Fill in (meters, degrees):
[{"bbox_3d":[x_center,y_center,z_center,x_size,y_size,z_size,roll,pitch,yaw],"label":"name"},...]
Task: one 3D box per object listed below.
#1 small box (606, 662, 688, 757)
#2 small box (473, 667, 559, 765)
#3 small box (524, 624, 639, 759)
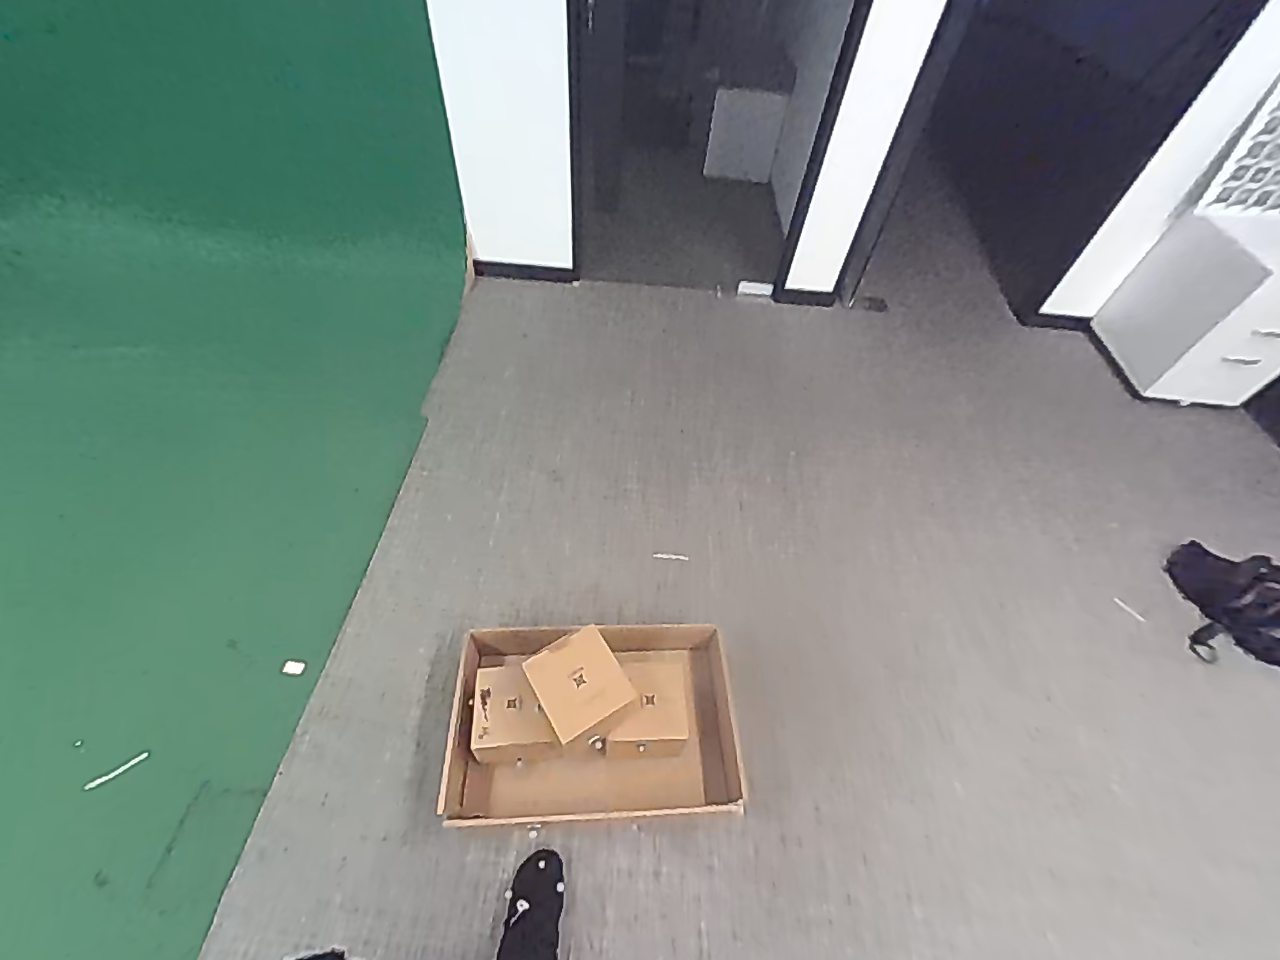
[{"bbox_3d":[0.010,0.530,1.245,0.179,0.176,0.168,0,52,-4],"label":"small box"},{"bbox_3d":[-0.270,0.531,1.219,0.179,0.176,0.168,-1,51,-9],"label":"small box"},{"bbox_3d":[-0.122,0.434,1.105,0.168,0.176,0.179,-26,60,-23],"label":"small box"}]
